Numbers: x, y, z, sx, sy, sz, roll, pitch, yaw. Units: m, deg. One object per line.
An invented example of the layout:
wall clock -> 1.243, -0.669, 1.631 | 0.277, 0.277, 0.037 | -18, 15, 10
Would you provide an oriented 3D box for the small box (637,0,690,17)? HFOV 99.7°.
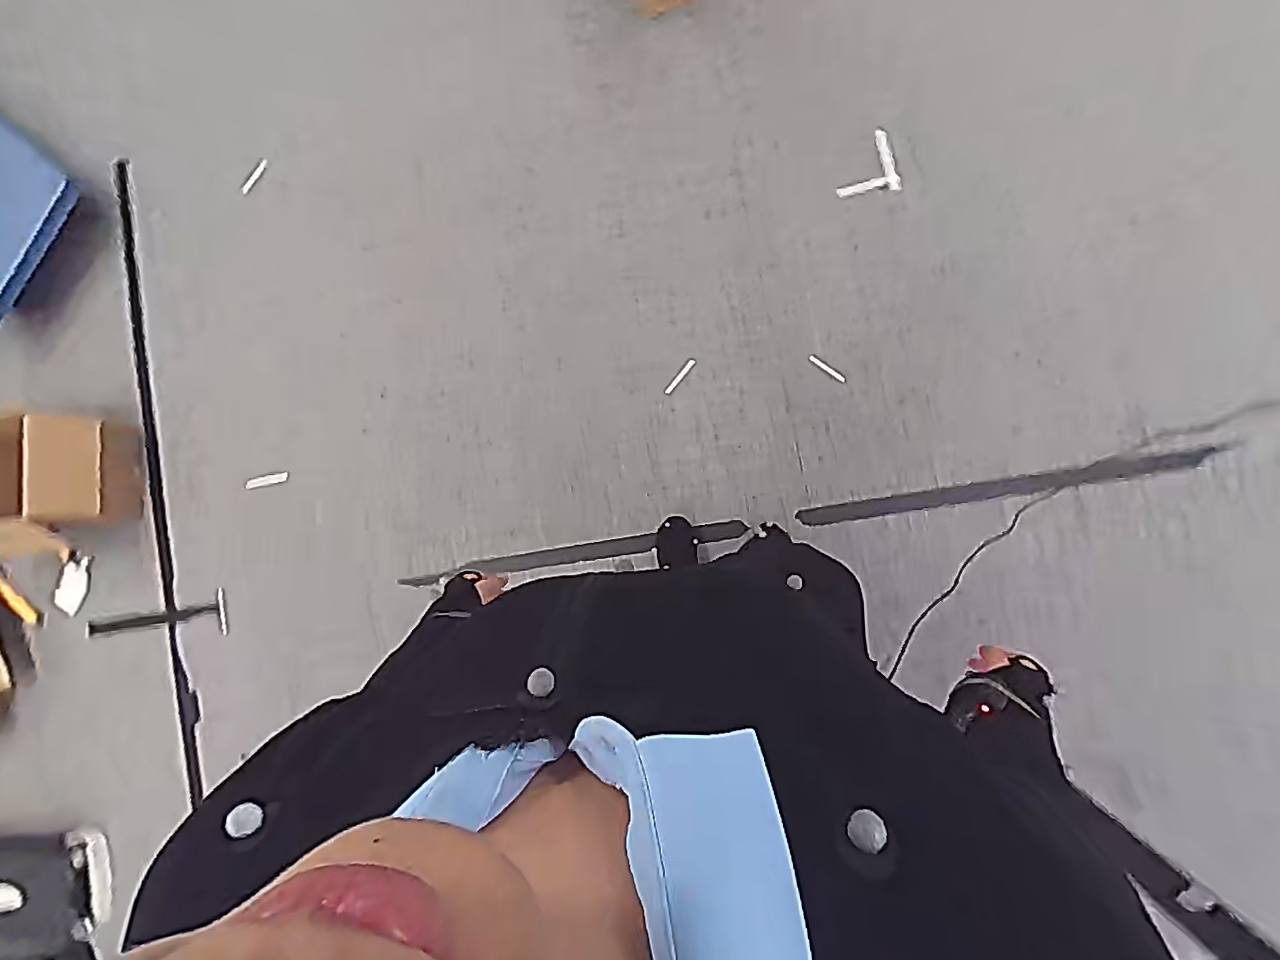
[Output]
small box -> 0.049, -1.460, 1.503 | 0.168, 0.176, 0.179 | -17, 85, 9
